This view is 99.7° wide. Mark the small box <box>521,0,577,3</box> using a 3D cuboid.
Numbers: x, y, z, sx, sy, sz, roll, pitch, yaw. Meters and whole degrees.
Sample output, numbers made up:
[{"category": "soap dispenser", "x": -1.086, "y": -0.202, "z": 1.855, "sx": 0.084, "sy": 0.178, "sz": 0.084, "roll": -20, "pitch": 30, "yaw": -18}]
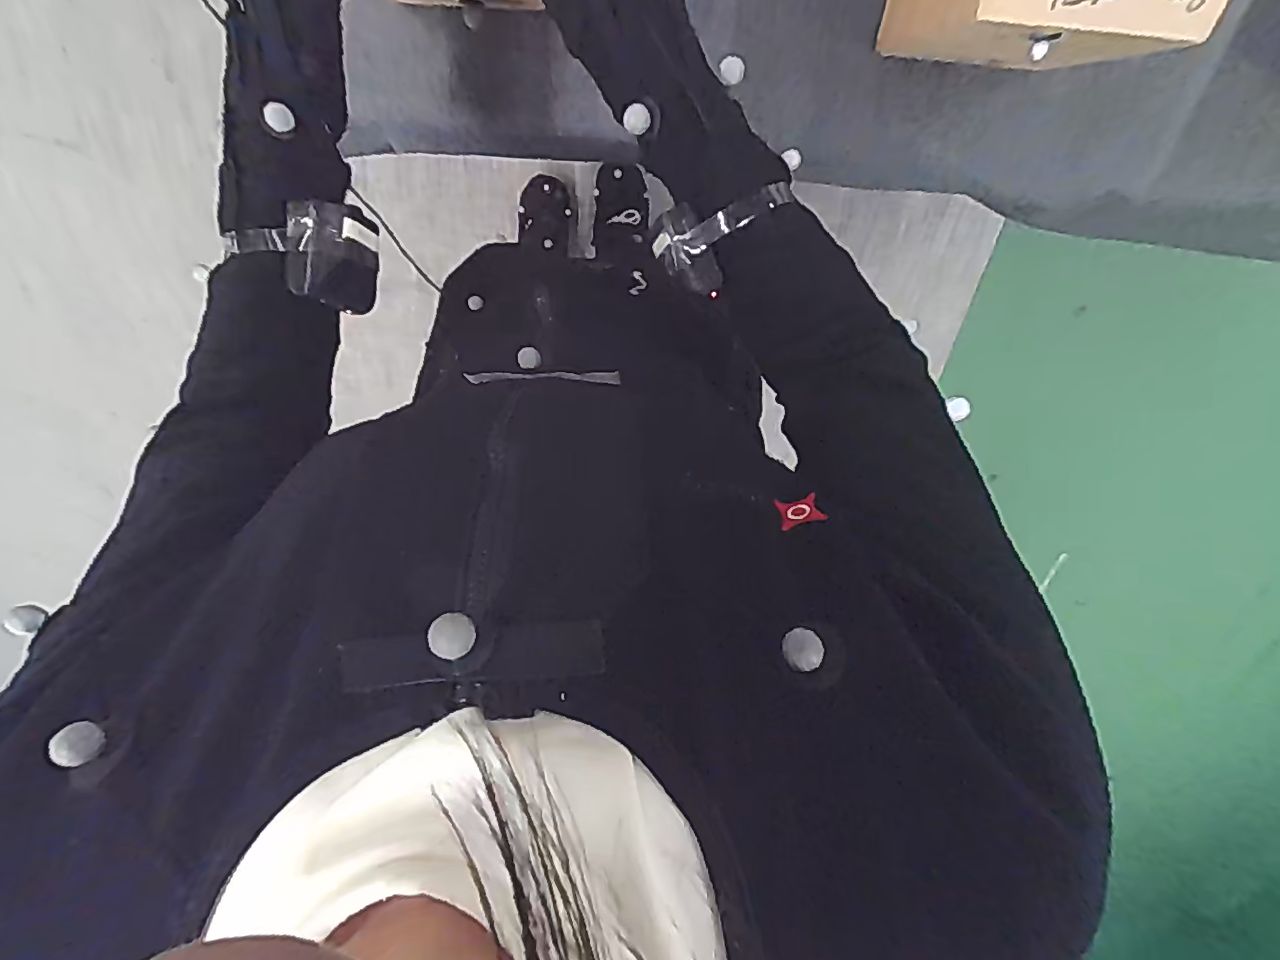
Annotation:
[{"category": "small box", "x": -0.116, "y": -0.441, "z": 0.349, "sx": 0.168, "sy": 0.176, "sz": 0.179, "roll": 0, "pitch": 124, "yaw": -2}]

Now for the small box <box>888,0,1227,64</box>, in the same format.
[{"category": "small box", "x": 0.303, "y": -0.419, "z": 0.379, "sx": 0.168, "sy": 0.176, "sz": 0.179, "roll": 3, "pitch": 122, "yaw": -3}]
